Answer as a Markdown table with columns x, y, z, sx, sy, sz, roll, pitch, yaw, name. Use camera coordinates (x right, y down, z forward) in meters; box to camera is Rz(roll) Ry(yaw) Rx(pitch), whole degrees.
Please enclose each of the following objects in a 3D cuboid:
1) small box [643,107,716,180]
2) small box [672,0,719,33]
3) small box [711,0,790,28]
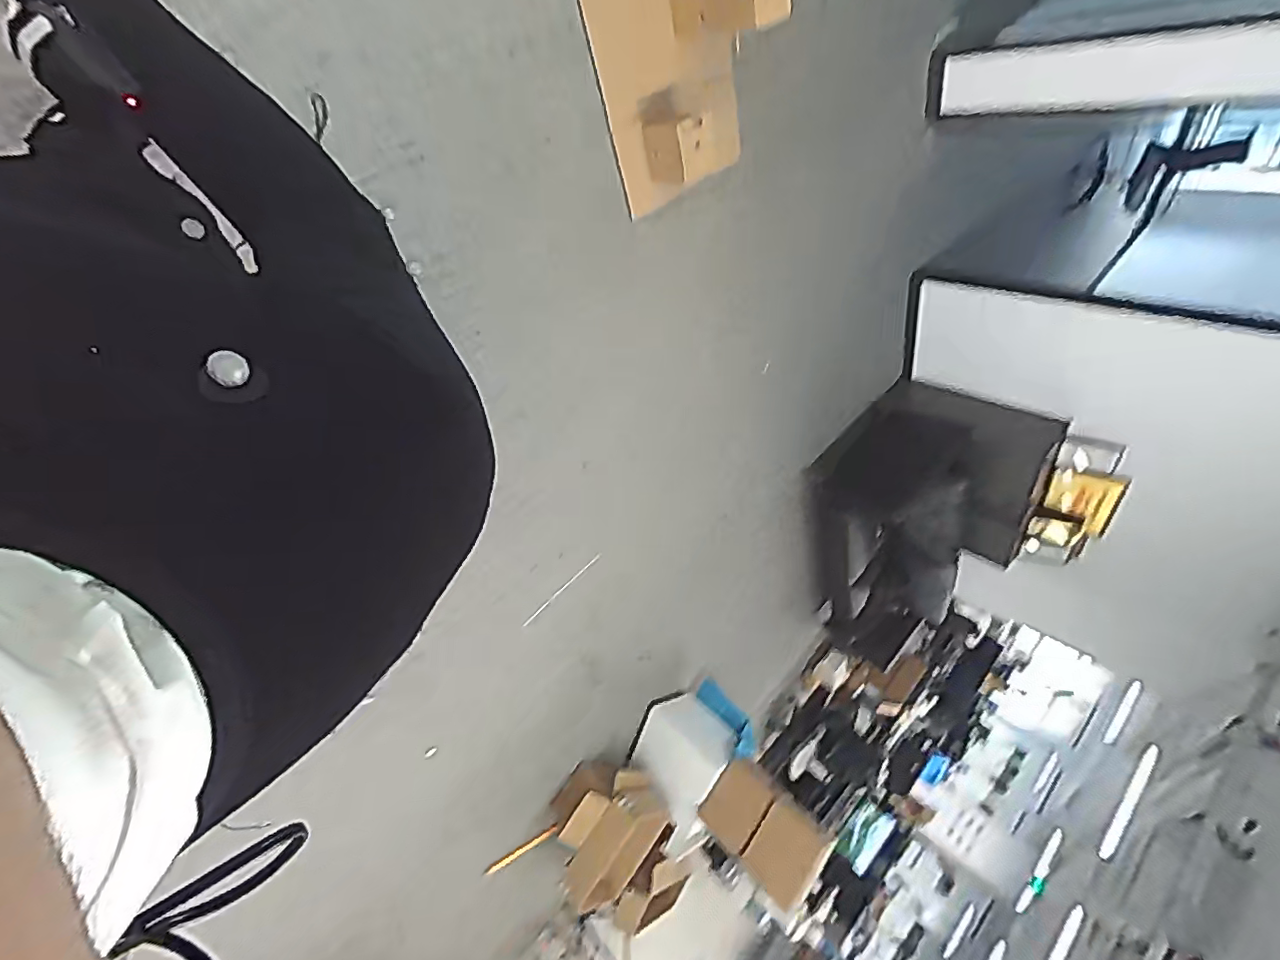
| x | y | z | sx | sy | sz | roll | pitch | yaw | name |
| --- | --- | --- | --- | --- | --- | --- | --- | --- | --- |
| 0.135 | -1.145 | 1.838 | 0.168 | 0.176 | 0.179 | -39 | 136 | -23 | small box |
| 0.208 | -1.519 | 1.676 | 0.168 | 0.176 | 0.179 | -40 | 137 | -22 | small box |
| 0.316 | -1.450 | 1.578 | 0.168 | 0.176 | 0.179 | -39 | 136 | -22 | small box |
